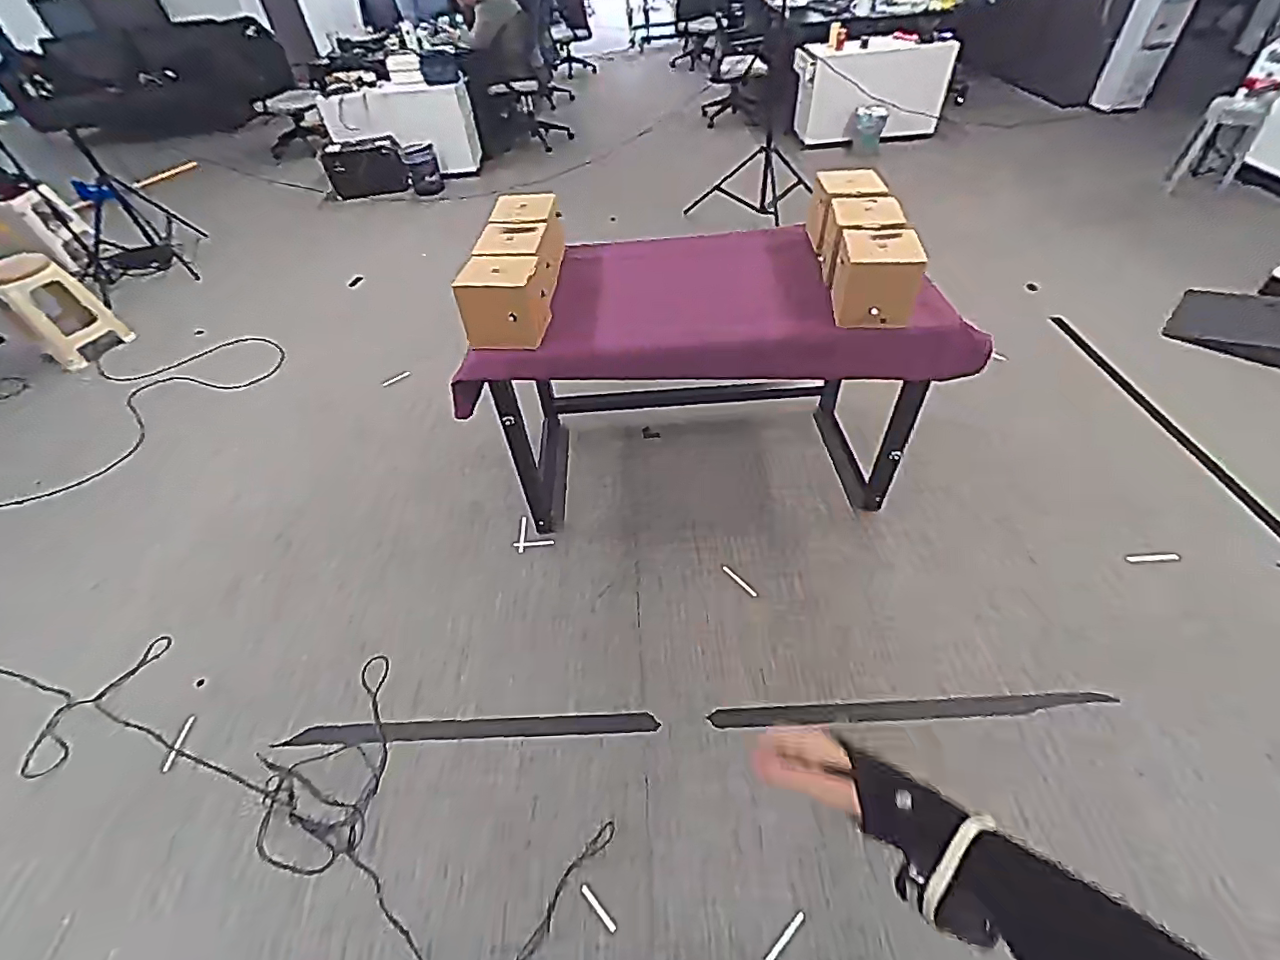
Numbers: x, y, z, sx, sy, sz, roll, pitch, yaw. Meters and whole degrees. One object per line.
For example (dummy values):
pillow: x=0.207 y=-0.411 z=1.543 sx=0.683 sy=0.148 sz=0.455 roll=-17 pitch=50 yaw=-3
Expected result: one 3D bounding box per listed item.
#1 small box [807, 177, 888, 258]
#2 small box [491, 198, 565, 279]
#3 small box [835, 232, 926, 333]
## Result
small box: x=0.594 y=-0.764 z=1.574 sx=0.168 sy=0.176 sz=0.179 roll=0 pitch=47 yaw=4
small box: x=-0.322 y=-0.712 z=1.596 sx=0.168 sy=0.176 sz=0.179 roll=-1 pitch=49 yaw=4
small box: x=0.573 y=-0.480 z=1.313 sx=0.168 sy=0.176 sz=0.179 roll=4 pitch=52 yaw=12
